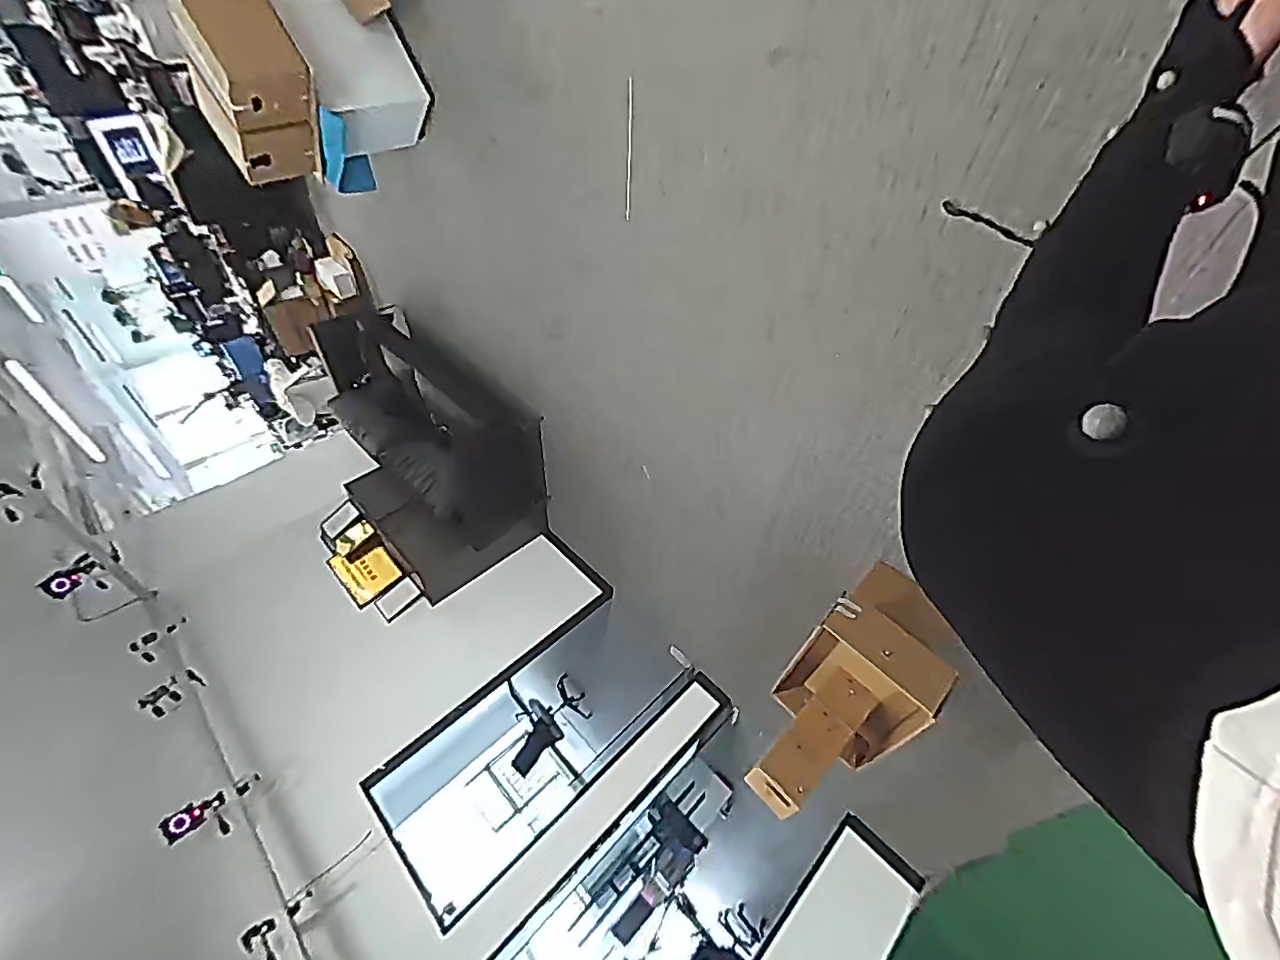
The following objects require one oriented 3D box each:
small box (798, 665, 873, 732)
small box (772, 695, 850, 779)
[{"bbox_3d":[0.703,0.804,1.940,0.168,0.176,0.179,39,144,25],"label":"small box"},{"bbox_3d":[0.588,0.877,1.852,0.168,0.176,0.179,40,144,26],"label":"small box"}]
